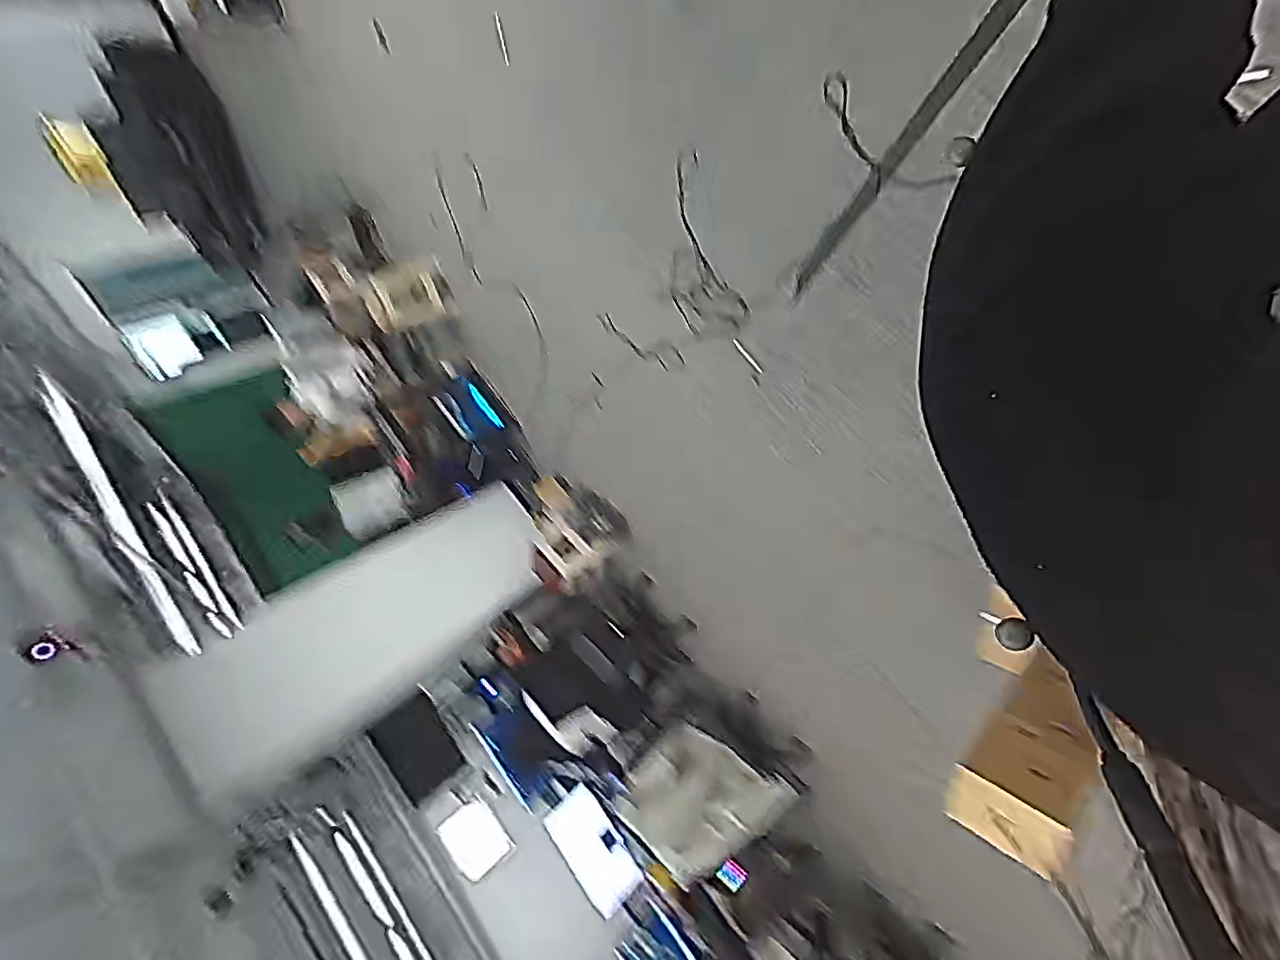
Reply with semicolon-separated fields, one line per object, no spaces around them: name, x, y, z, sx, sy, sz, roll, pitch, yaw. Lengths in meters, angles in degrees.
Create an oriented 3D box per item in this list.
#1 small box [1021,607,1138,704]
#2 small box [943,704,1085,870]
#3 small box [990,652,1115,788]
small box;0.941;0.415;1.177;0.168;0.176;0.179;23;134;44
small box;0.698;0.562;1.013;0.168;0.176;0.179;23;135;44
small box;0.821;0.492;1.095;0.168;0.176;0.179;23;135;44
